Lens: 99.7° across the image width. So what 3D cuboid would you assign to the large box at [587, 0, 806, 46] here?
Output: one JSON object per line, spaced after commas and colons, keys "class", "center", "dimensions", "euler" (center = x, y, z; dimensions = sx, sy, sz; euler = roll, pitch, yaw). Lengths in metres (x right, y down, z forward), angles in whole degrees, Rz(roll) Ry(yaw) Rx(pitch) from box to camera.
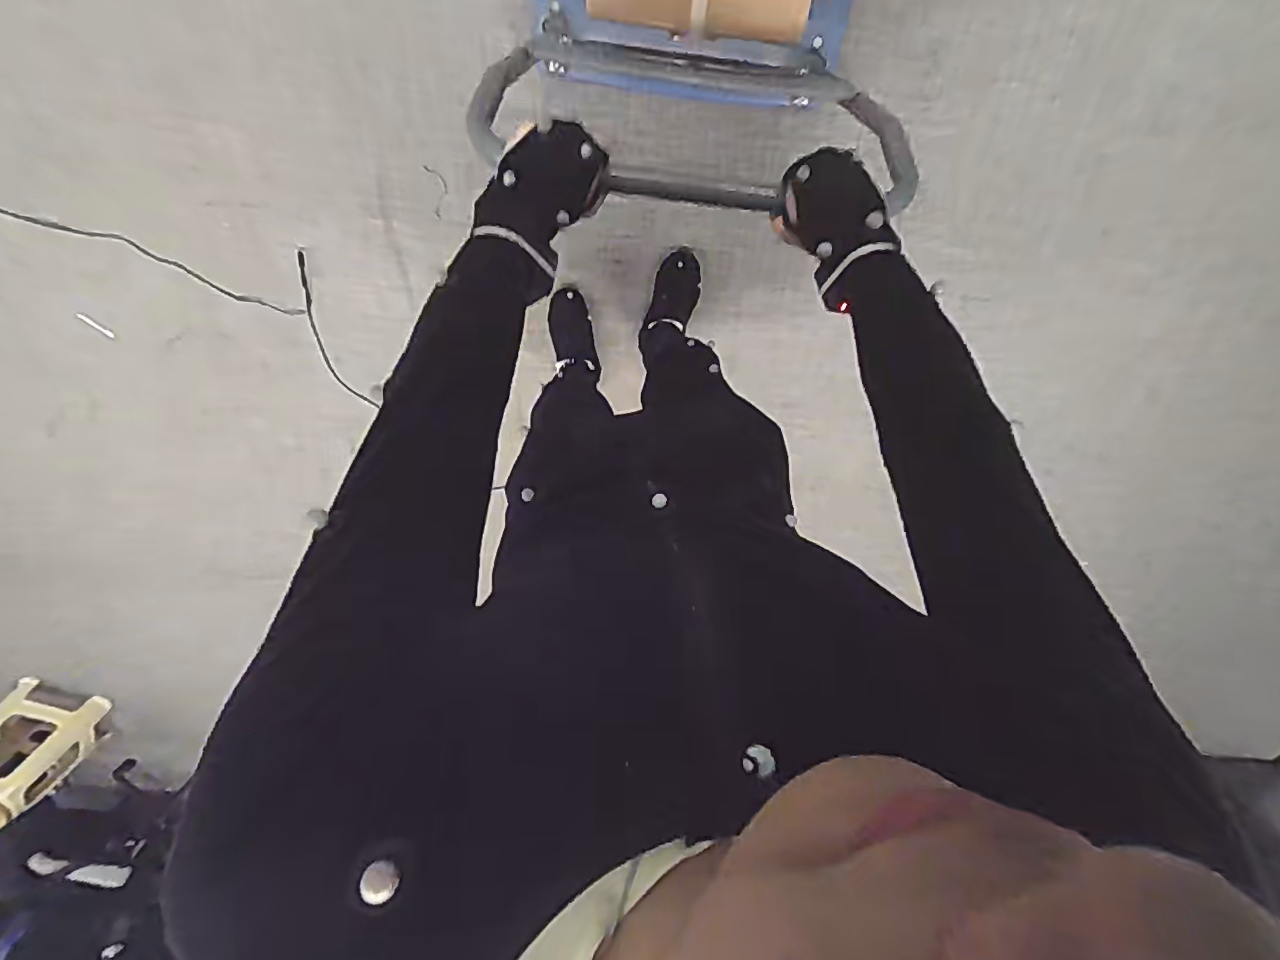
{"class": "large box", "center": [0.100, -0.897, 0.781], "dimensions": [0.320, 0.320, 0.408], "euler": [6, 129, -2]}
